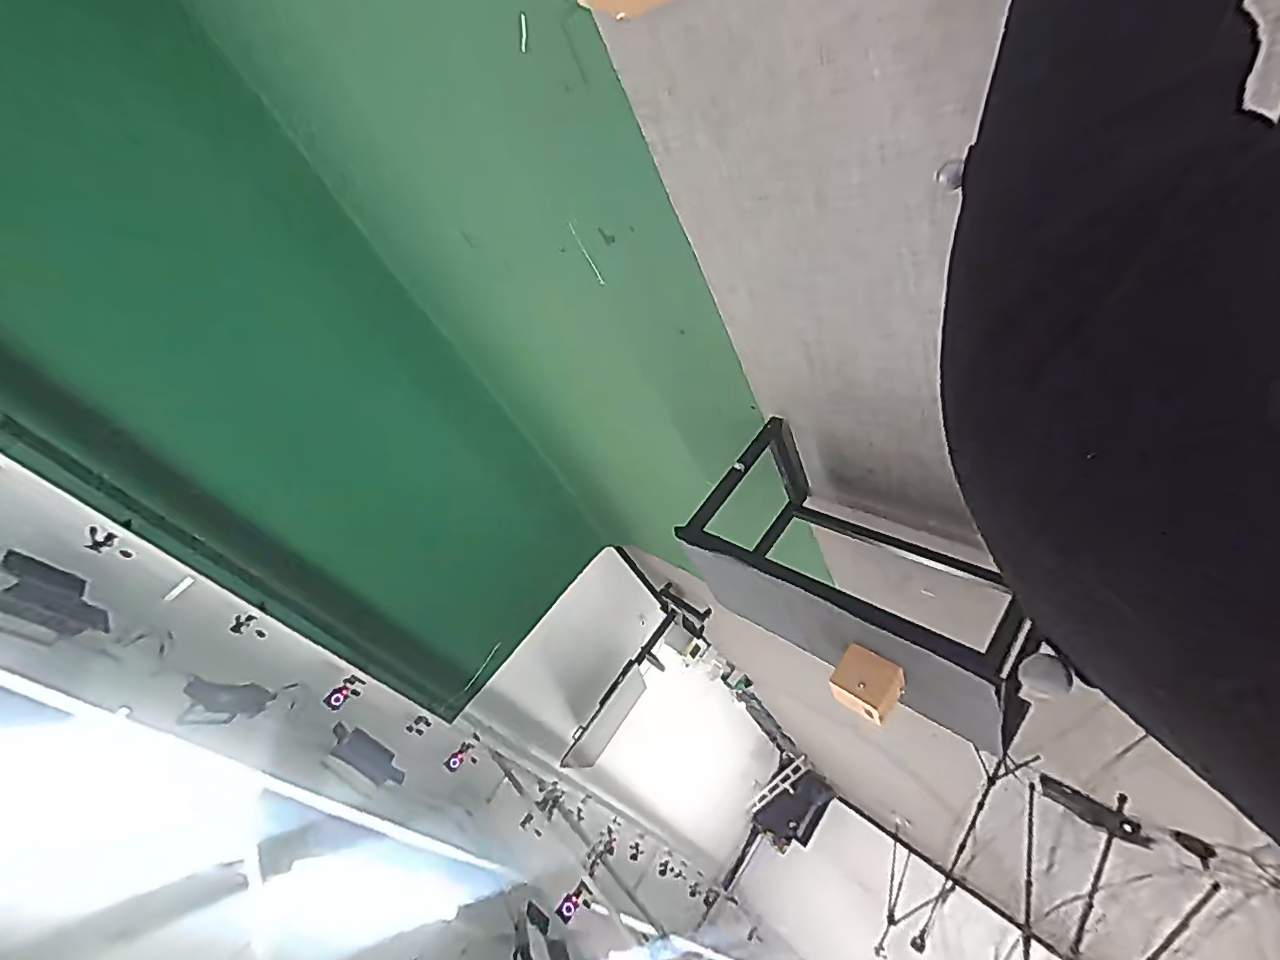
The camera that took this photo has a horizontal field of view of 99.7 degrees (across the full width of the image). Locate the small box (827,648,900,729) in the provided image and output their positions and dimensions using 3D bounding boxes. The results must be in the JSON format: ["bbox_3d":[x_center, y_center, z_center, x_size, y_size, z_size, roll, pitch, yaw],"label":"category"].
[{"bbox_3d":[0.766,0.702,1.837,0.179,0.176,0.168,23,153,42],"label":"small box"}]
